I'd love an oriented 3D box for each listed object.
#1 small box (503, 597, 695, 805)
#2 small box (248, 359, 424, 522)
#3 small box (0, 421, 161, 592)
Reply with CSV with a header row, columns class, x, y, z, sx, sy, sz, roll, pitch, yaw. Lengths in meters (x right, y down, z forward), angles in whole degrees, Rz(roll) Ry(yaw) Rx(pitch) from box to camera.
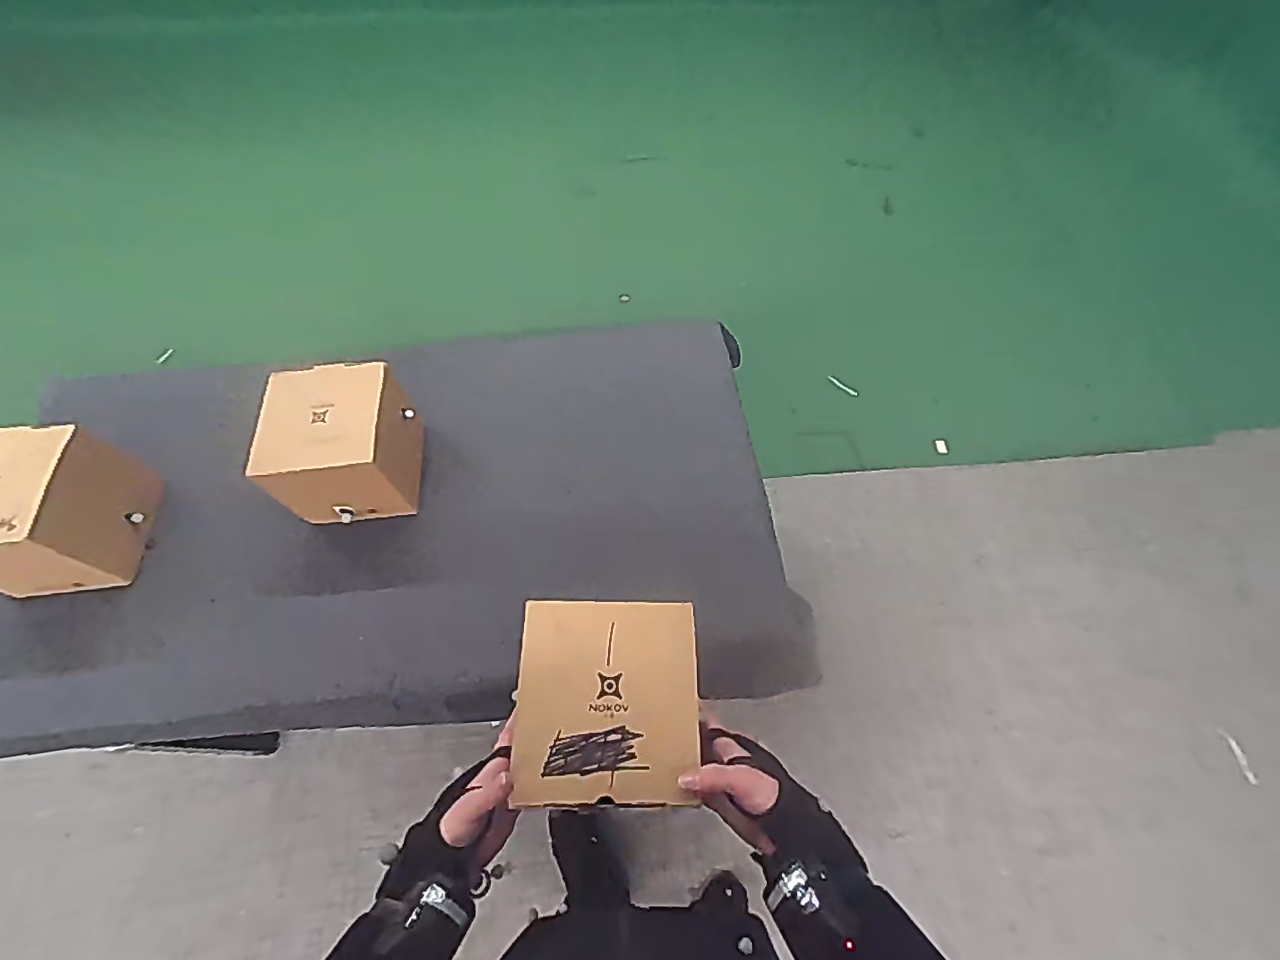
class,x,y,z,sx,sy,sz,roll,pitch,yaw
small box,-0.037,0.231,0.561,0.168,0.176,0.179,2,61,-4
small box,-0.438,-0.055,0.814,0.168,0.176,0.179,-7,64,-3
small box,-0.830,0.041,0.755,0.168,0.176,0.179,-6,62,-4
